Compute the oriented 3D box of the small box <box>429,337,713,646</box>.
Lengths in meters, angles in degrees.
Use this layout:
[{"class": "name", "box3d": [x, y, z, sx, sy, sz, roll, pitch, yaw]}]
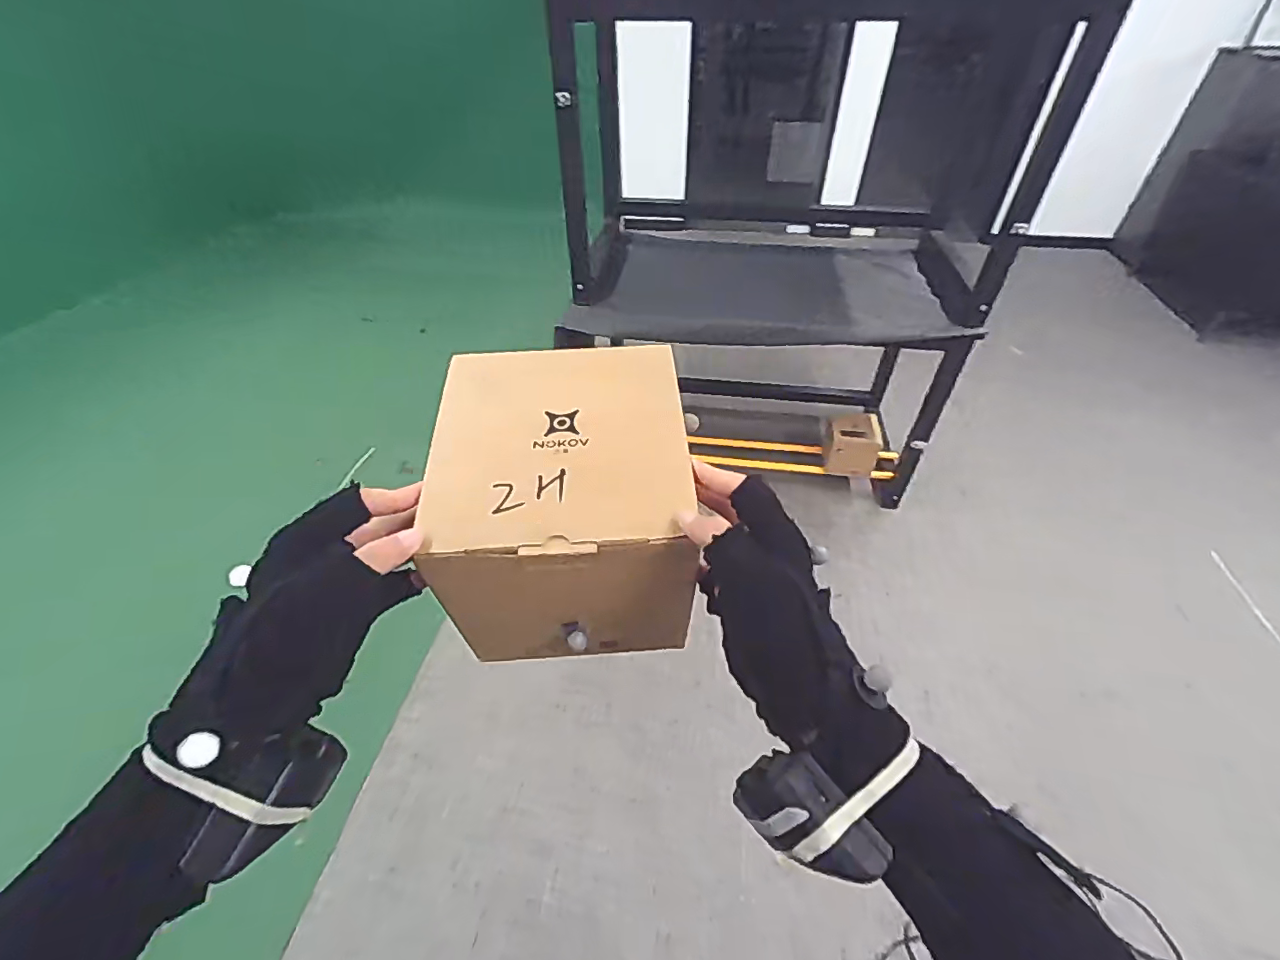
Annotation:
[{"class": "small box", "box3d": [-0.042, 0.011, 0.422, 0.168, 0.176, 0.179, -3, 51, -1]}]
